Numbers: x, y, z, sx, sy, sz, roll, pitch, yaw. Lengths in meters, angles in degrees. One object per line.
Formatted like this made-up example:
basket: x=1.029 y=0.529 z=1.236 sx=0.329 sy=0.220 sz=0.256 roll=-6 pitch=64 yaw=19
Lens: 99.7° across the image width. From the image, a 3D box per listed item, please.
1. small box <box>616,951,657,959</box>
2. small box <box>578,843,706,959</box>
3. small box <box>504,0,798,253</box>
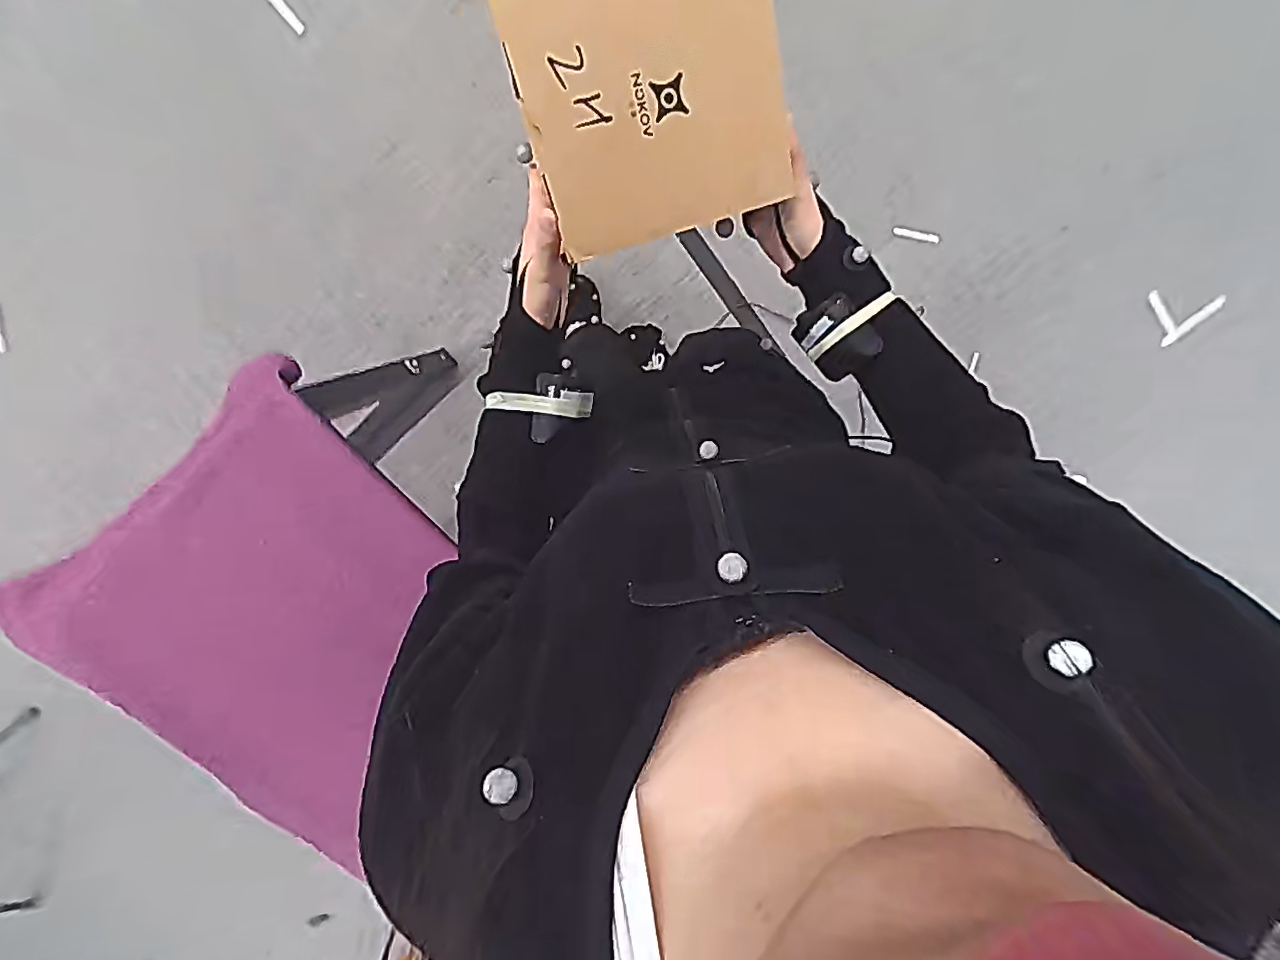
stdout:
small box: x=-0.008 y=0.846 z=0.793 sx=0.179 sy=0.176 sz=0.168 roll=43 pitch=103 yaw=-13
small box: x=-0.009 y=0.786 z=0.945 sx=0.179 sy=0.176 sz=0.168 roll=-42 pitch=104 yaw=12
small box: x=0.004 y=-0.293 z=0.426 sx=0.179 sy=0.176 sz=0.168 roll=-15 pitch=119 yaw=0
